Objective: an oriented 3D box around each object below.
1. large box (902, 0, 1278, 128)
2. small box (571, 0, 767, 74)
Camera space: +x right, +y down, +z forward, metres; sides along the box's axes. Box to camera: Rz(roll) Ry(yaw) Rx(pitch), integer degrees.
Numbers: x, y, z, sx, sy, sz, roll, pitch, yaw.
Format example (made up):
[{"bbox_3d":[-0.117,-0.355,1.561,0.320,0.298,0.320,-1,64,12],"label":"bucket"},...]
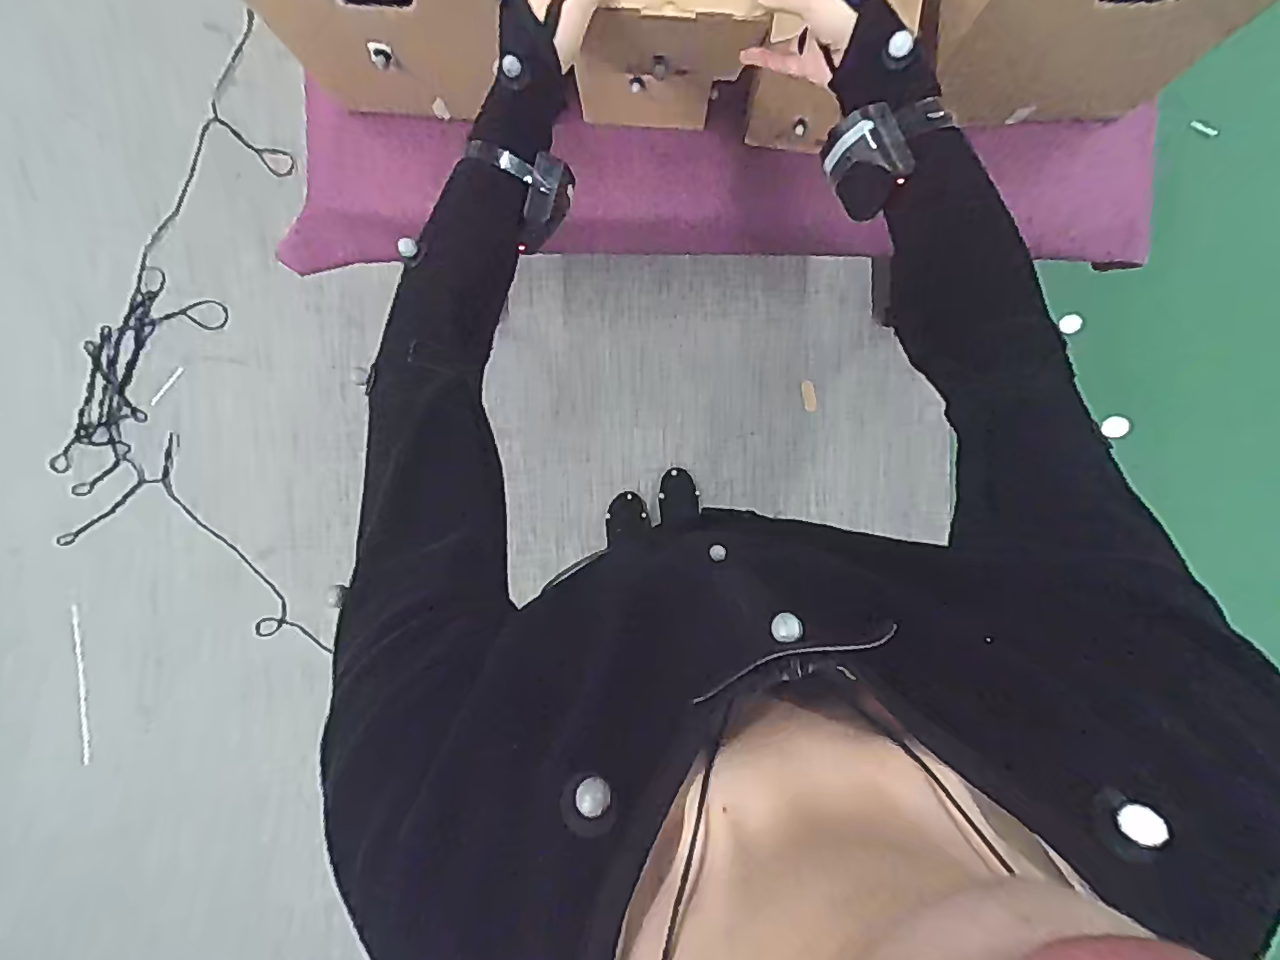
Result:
[{"bbox_3d":[0.515,-0.697,0.612,0.320,0.320,0.408,-1,92,4],"label":"large box"},{"bbox_3d":[0.024,-0.489,0.468,0.168,0.176,0.179,3,112,-1],"label":"small box"}]
